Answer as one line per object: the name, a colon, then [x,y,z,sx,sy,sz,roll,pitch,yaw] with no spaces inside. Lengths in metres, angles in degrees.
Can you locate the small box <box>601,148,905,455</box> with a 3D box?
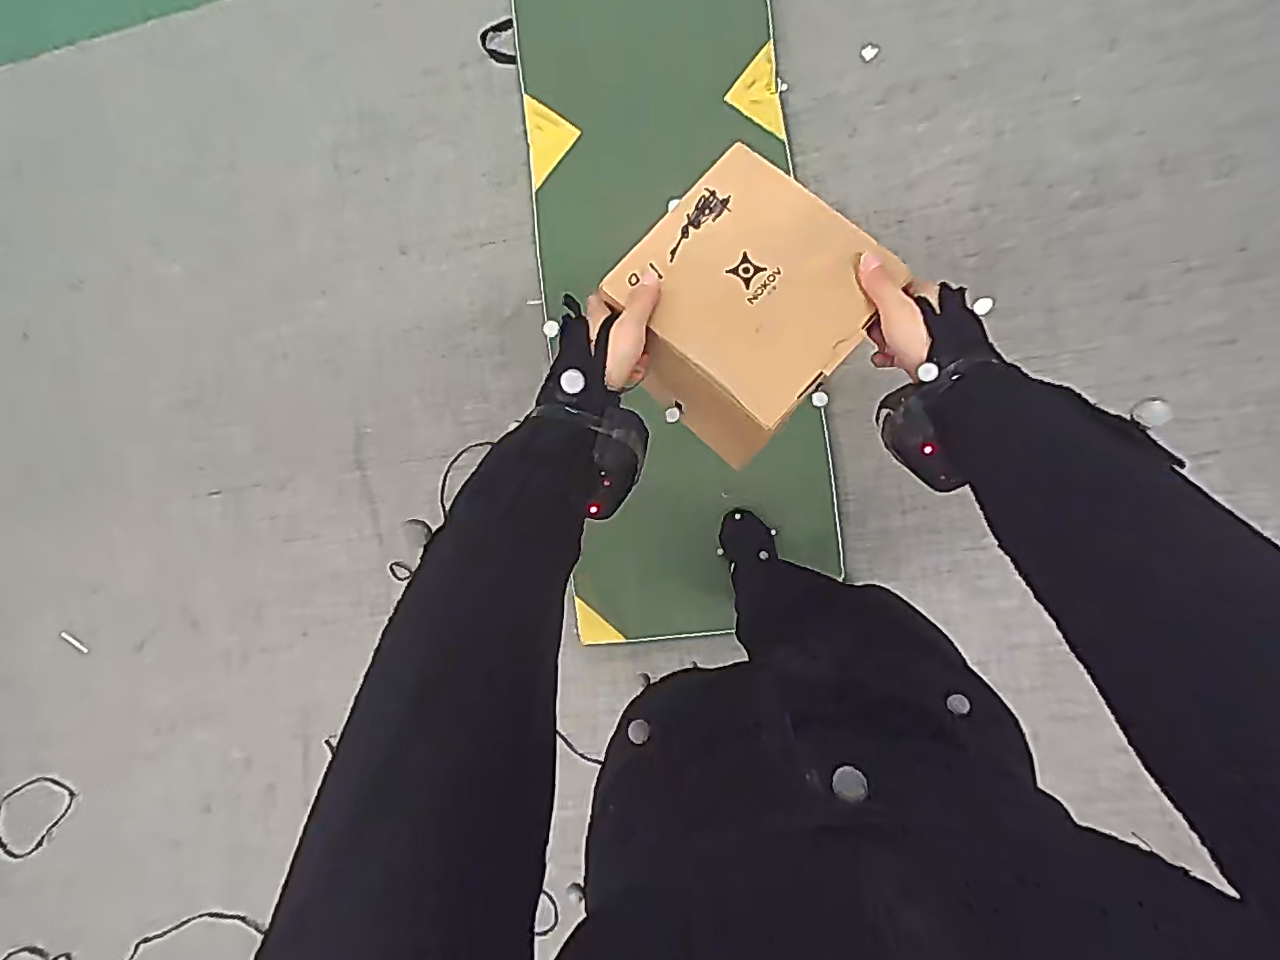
small box: [0.090,-0.140,0.493,0.179,0.176,0.168,42,85,8]
